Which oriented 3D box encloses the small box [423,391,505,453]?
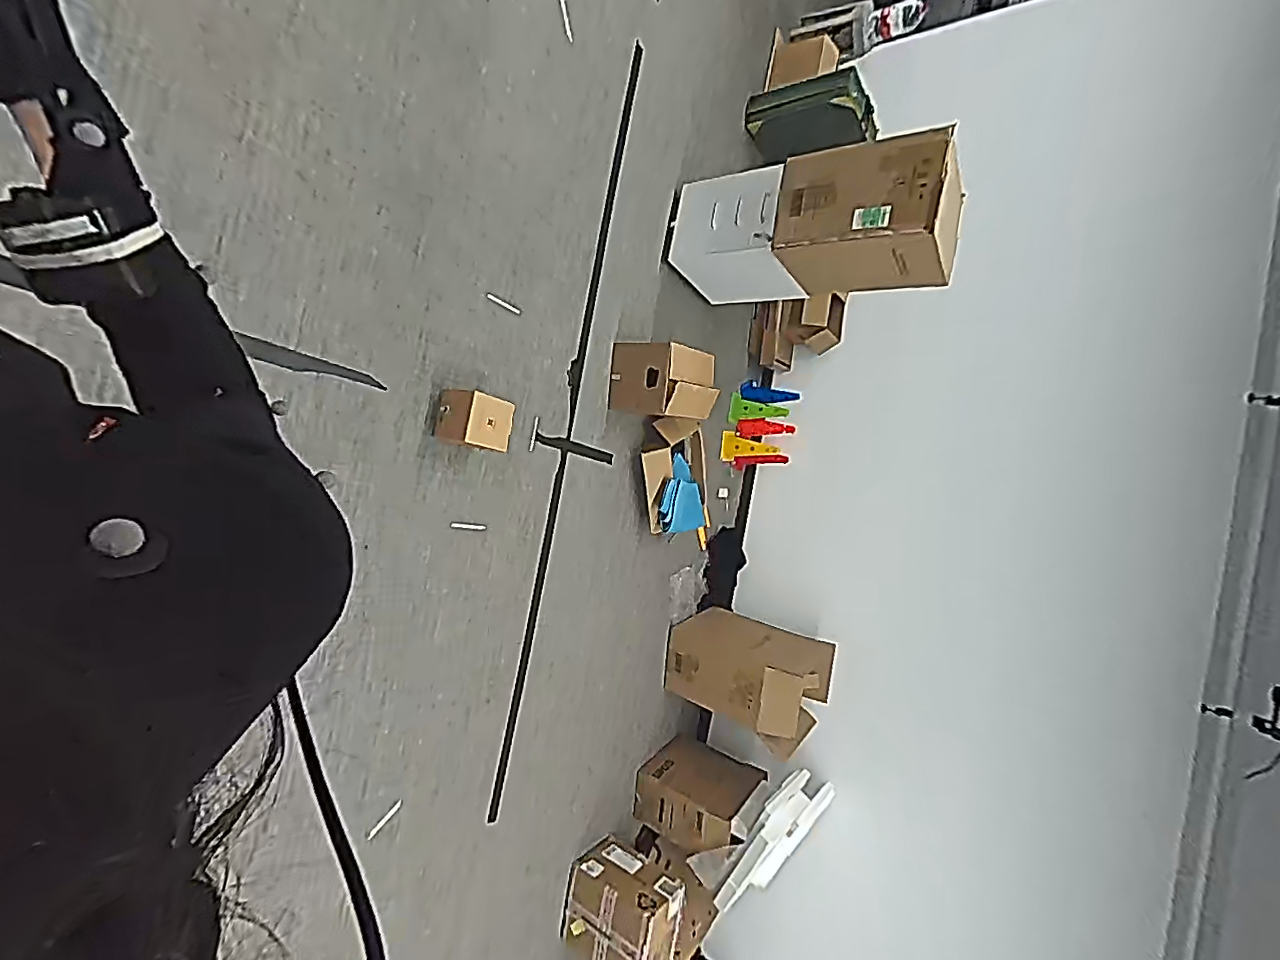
[{"bbox_3d":[-0.577,-0.191,1.774,0.179,0.176,0.168,15,84,-56],"label":"small box"}]
